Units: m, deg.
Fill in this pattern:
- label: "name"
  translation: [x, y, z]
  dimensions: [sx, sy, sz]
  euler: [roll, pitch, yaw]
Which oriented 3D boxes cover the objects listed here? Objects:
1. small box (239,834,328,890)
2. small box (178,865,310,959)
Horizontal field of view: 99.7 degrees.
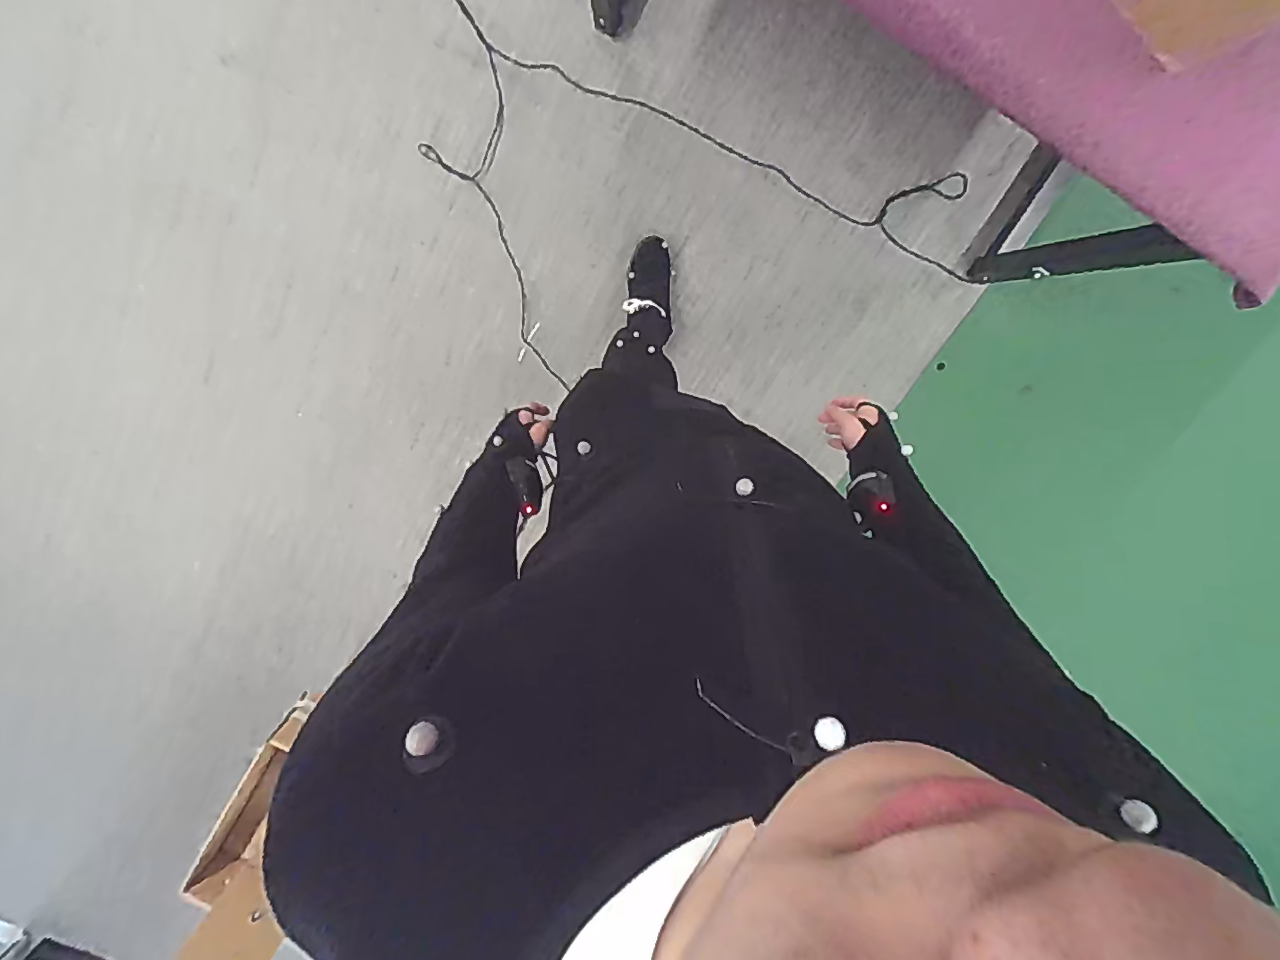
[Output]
- label: "small box"
  translation: [-0.939, 1.018, 1.440]
  dimensions: [0.179, 0.176, 0.168]
  euler: [33, 105, -9]
- label: "small box"
  translation: [-0.938, 1.063, 1.283]
  dimensions: [0.179, 0.176, 0.168]
  euler: [31, 105, -10]
